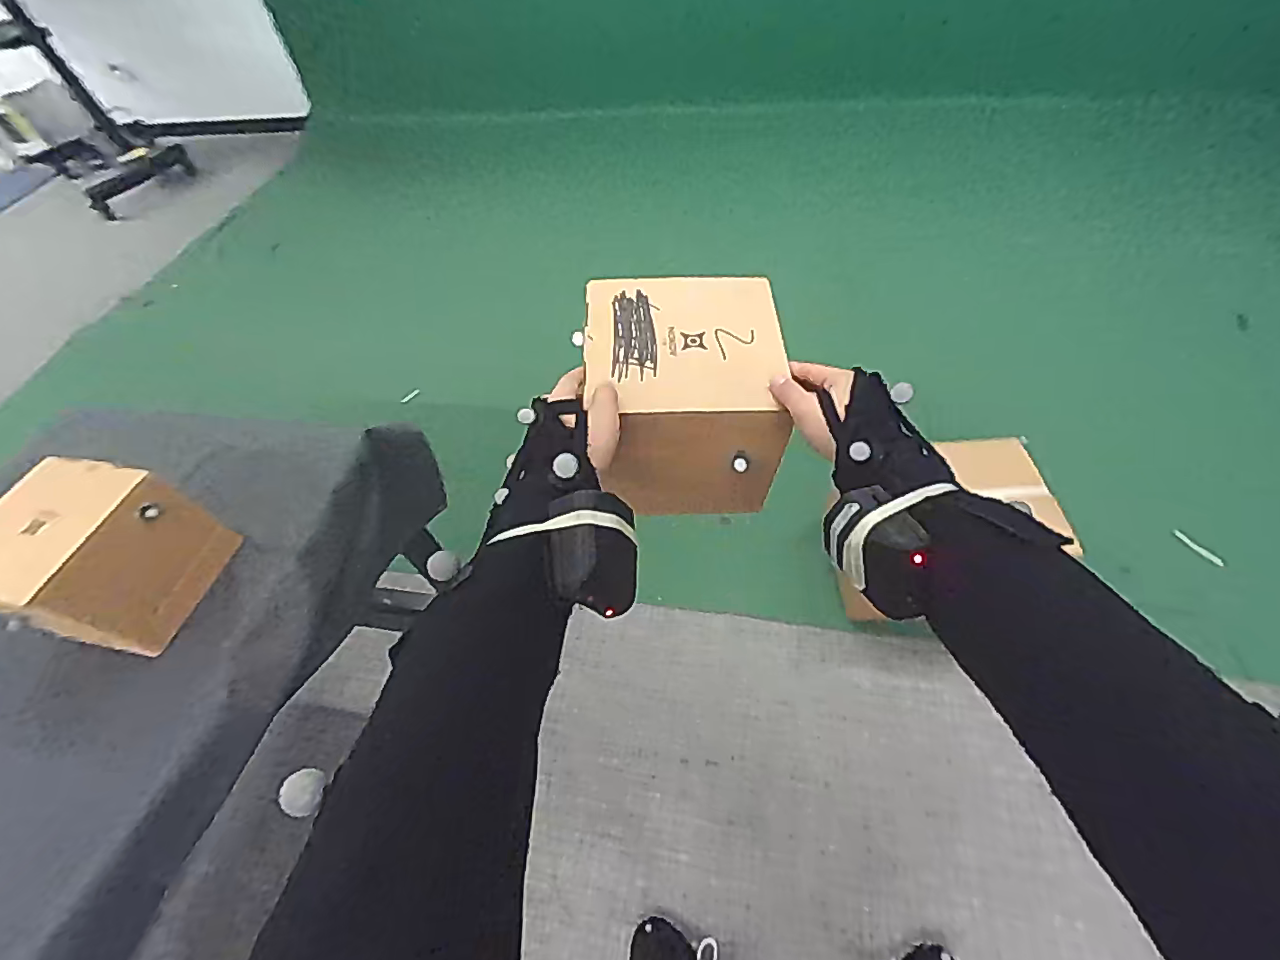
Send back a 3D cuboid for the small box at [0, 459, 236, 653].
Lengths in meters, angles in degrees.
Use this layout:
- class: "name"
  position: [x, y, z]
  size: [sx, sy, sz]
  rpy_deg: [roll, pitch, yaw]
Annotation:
- class: "small box"
  position: [-0.666, 0.098, 0.674]
  size: [0.168, 0.176, 0.179]
  rpy_deg: [6, 55, 12]
